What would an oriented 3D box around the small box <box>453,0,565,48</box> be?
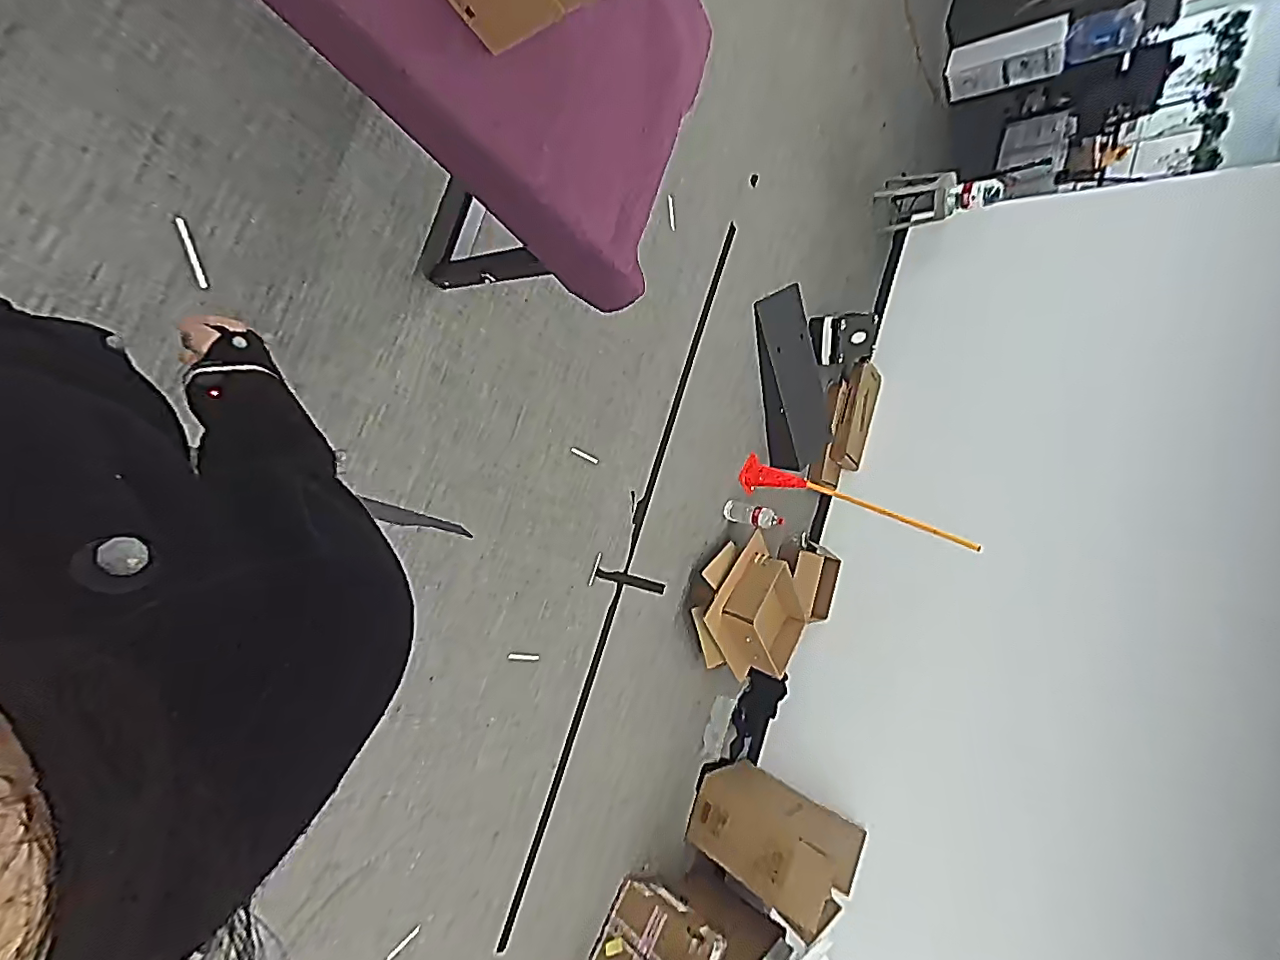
[{"bbox_3d":[-0.181,-0.738,0.724,0.168,0.176,0.179,32,75,-49],"label":"small box"}]
